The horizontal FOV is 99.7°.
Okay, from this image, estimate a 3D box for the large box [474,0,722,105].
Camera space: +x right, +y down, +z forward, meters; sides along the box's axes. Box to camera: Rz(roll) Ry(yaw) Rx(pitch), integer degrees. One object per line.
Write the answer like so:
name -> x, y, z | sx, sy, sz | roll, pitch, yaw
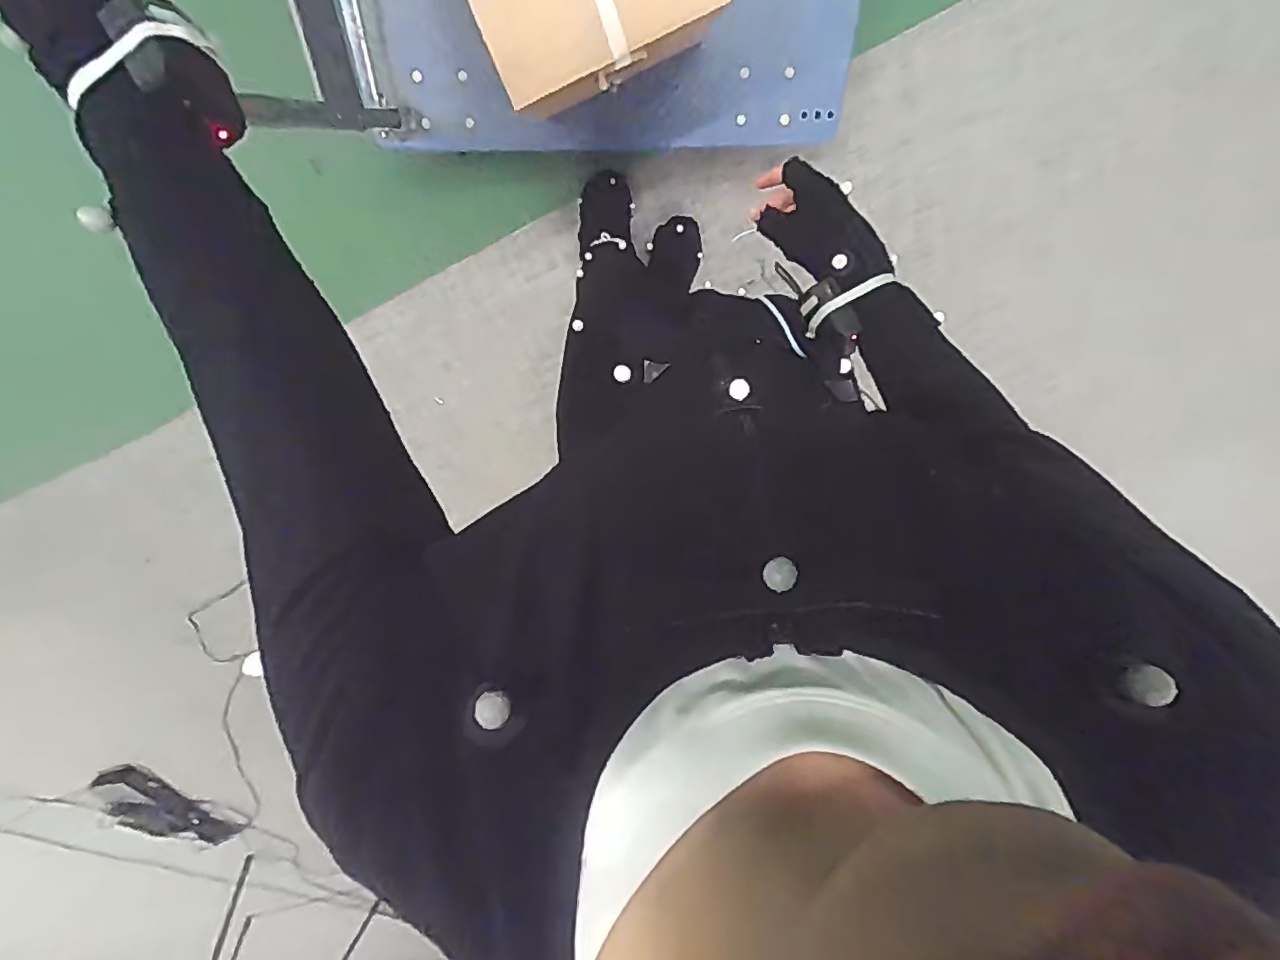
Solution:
large box -> -0.095, -0.798, 0.725 | 0.320, 0.320, 0.408 | -18, 120, 10
